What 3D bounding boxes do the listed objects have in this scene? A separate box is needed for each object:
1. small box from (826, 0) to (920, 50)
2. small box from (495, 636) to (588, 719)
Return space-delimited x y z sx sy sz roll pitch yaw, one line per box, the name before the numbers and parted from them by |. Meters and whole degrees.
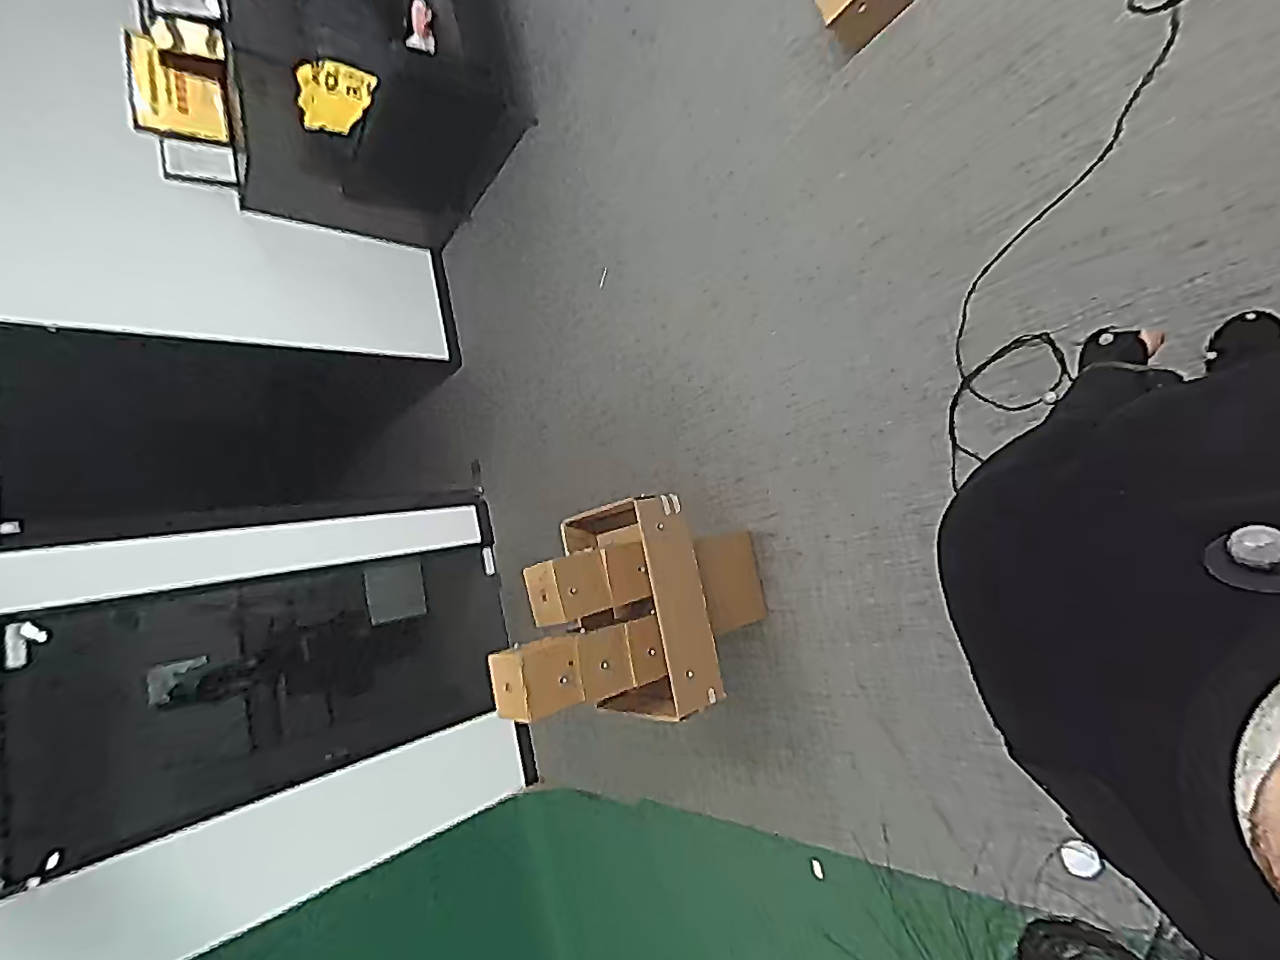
small box | 0.609 -1.293 1.419 0.179 0.176 0.168 -24 76 47
small box | -0.259 0.514 1.422 0.179 0.176 0.168 -22 75 47
